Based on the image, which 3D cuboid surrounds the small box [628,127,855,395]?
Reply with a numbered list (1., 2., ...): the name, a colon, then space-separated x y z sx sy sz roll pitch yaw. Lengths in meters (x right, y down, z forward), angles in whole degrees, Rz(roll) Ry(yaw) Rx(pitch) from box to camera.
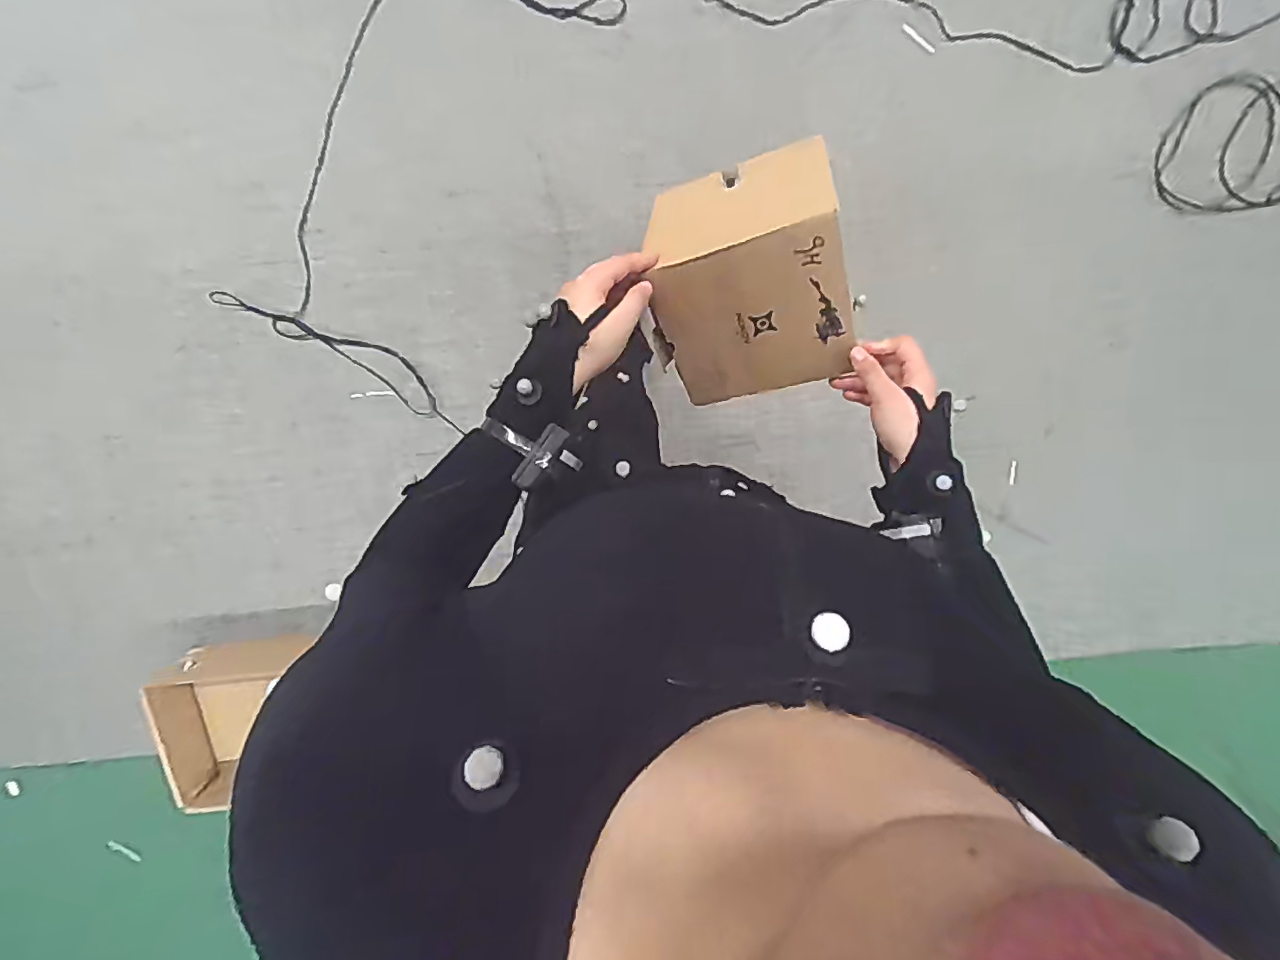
1. small box: 0.109 -0.216 0.547 0.179 0.176 0.168 -10 136 23
